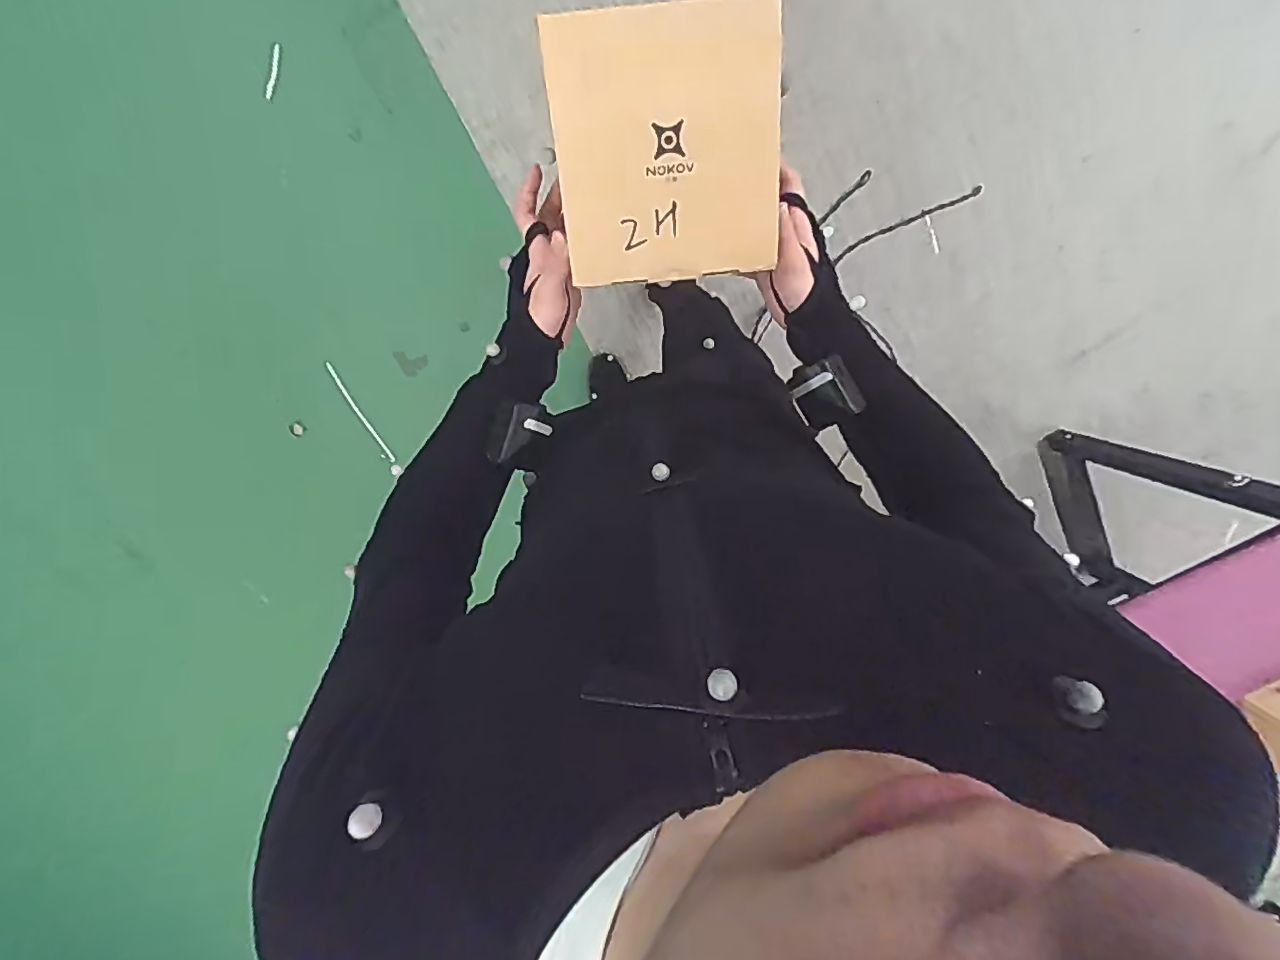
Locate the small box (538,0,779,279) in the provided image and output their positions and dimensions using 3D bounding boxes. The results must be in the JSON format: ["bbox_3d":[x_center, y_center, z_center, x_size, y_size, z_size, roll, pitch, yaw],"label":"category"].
[{"bbox_3d":[0.016,-0.277,0.465,0.168,0.176,0.179,-5,115,1],"label":"small box"}]

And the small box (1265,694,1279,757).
[{"bbox_3d":[1.380,0.505,1.041,0.168,0.176,0.179,-29,107,6],"label":"small box"}]
